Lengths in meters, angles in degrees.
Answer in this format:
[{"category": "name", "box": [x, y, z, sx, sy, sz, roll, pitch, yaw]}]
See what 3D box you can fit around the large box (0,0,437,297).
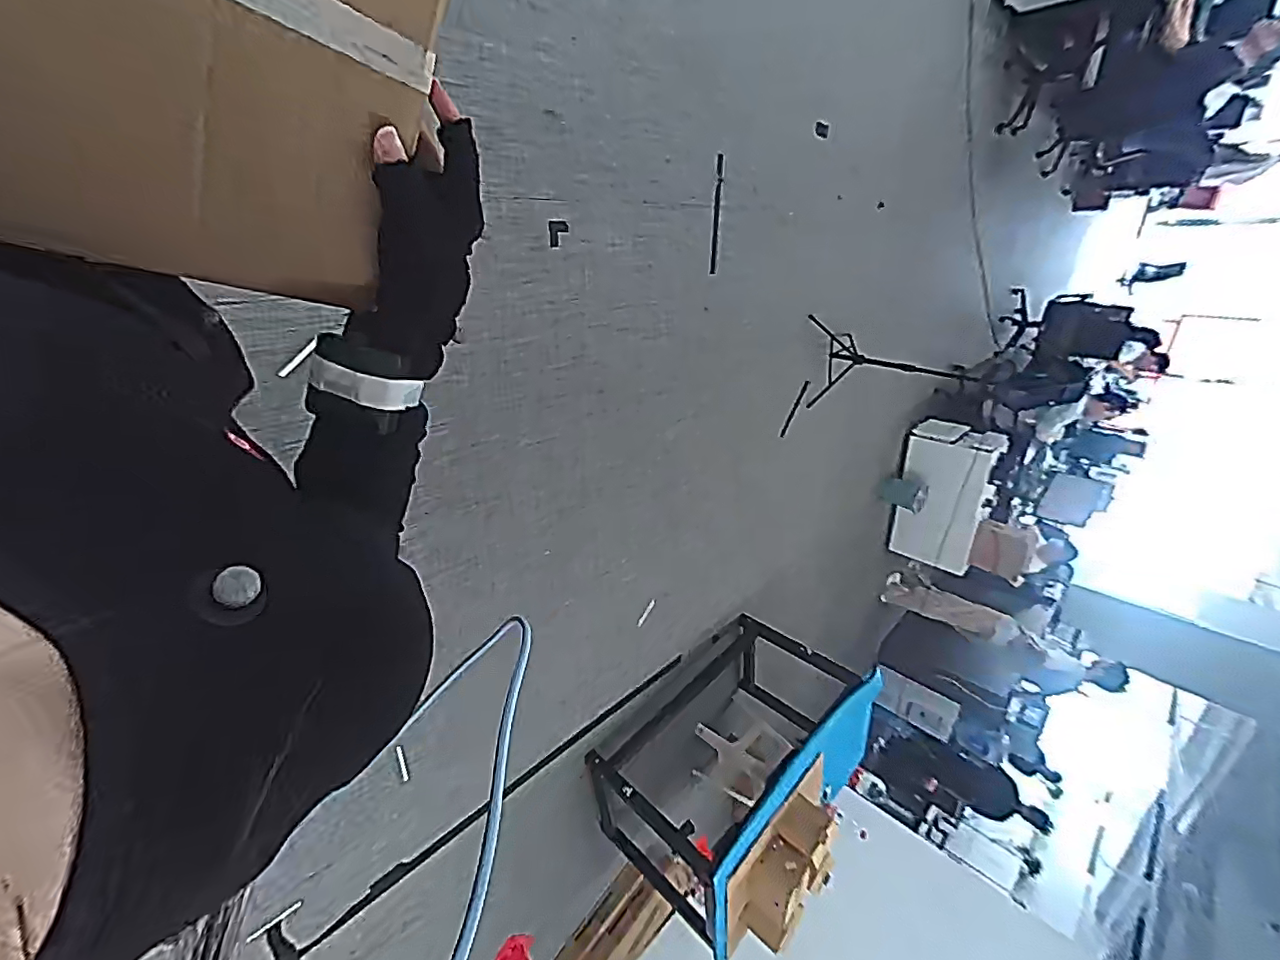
[{"category": "large box", "box": [-0.353, -0.342, 0.267, 0.408, 0.320, 0.320, 0, 133, -43]}]
